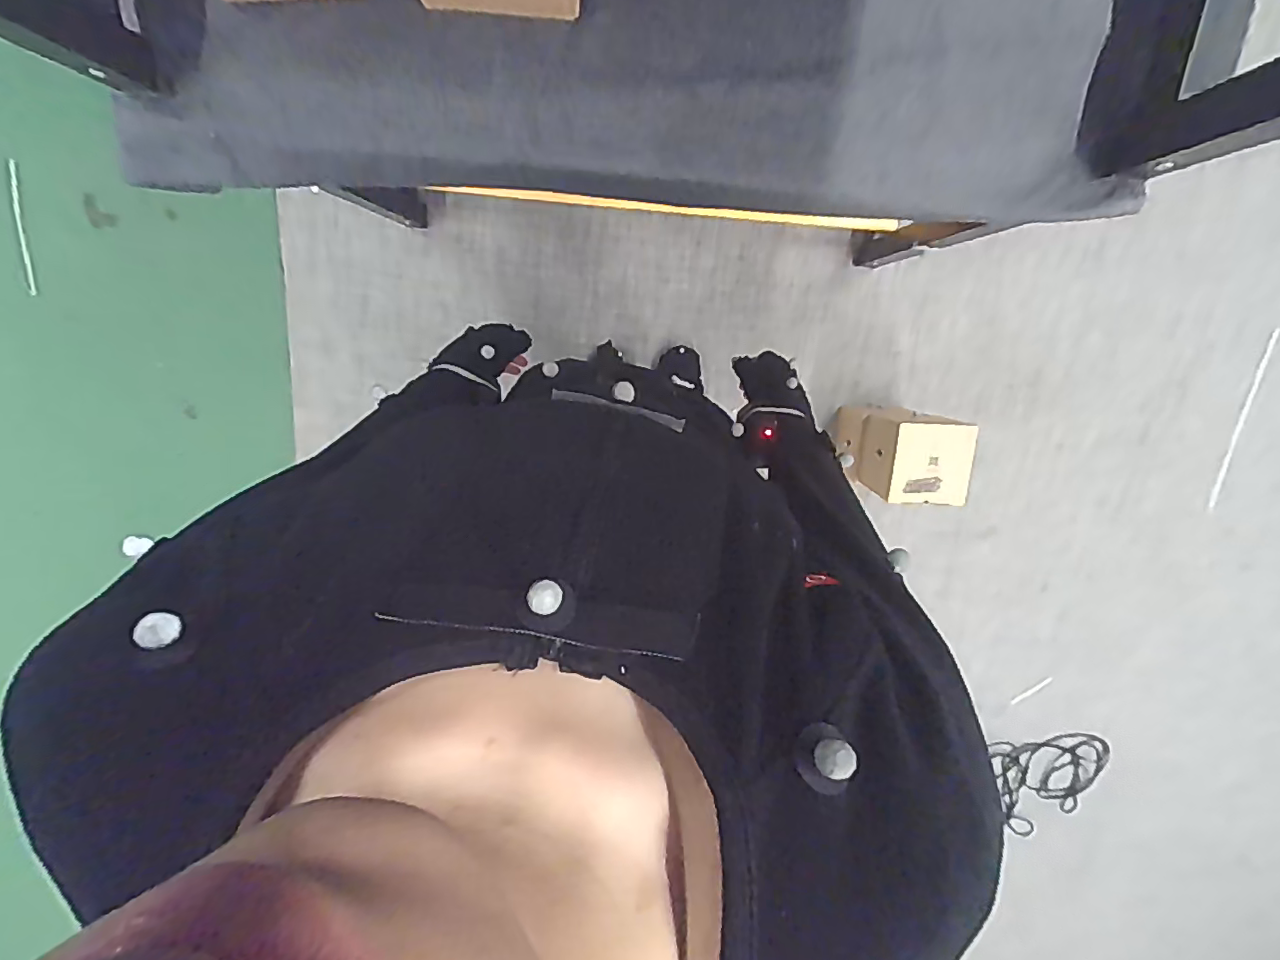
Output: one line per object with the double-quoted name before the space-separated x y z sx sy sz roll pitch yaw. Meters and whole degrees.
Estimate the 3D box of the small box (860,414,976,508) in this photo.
"small box" 0.611 -0.047 1.213 0.168 0.176 0.179 3 104 1
